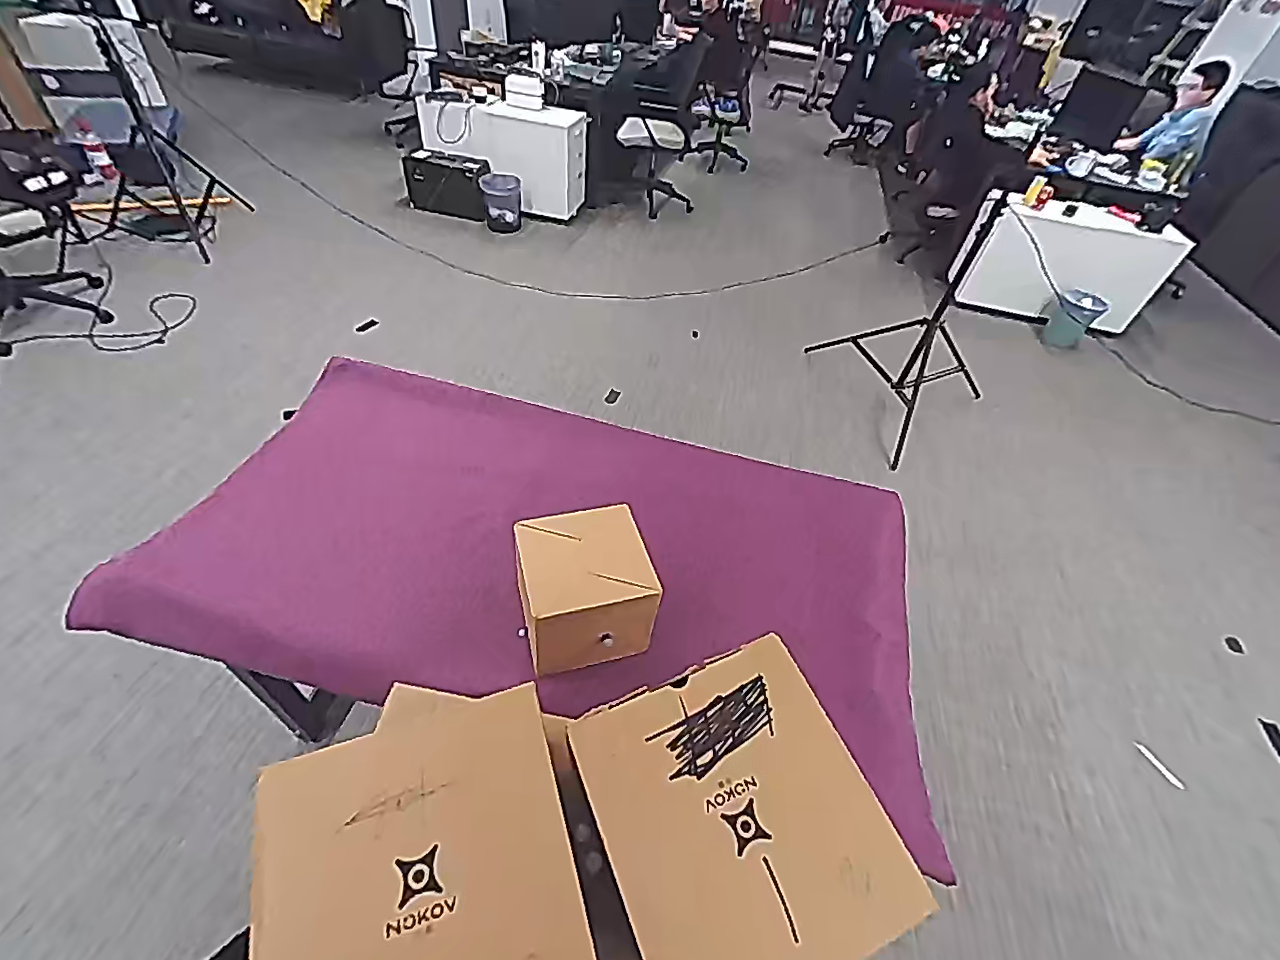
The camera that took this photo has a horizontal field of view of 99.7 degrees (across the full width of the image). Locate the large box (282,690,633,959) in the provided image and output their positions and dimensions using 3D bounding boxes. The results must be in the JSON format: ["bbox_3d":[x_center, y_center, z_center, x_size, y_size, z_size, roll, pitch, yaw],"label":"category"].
[{"bbox_3d":[-0.073,0.437,0.533,0.408,0.320,0.320,10,54,1],"label":"large box"}]

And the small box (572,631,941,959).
[{"bbox_3d":[0.055,0.242,0.386,0.168,0.176,0.179,-17,57,-17],"label":"small box"}]

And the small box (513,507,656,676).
[{"bbox_3d":[-0.084,0.161,0.807,0.179,0.176,0.168,-9,46,-16],"label":"small box"}]
